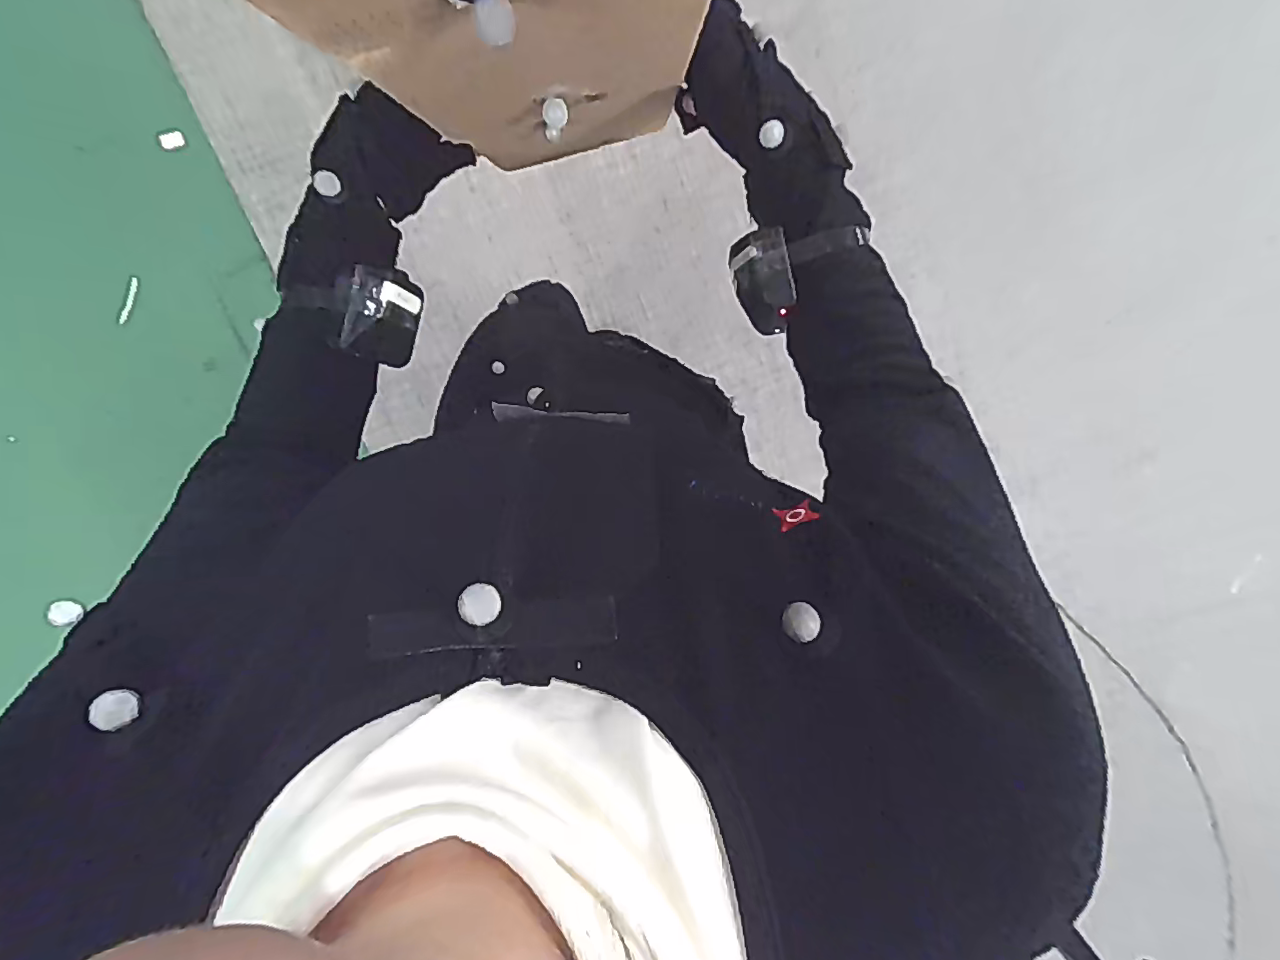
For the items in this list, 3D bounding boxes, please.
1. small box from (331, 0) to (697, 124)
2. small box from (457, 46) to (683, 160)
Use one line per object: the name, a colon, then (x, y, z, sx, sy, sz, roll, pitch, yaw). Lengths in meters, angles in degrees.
small box: (-0.067, -0.312, 0.267, 0.168, 0.176, 0.179, -13, 112, 4)
small box: (-0.070, -0.377, 0.418, 0.168, 0.176, 0.179, -13, 111, 5)
